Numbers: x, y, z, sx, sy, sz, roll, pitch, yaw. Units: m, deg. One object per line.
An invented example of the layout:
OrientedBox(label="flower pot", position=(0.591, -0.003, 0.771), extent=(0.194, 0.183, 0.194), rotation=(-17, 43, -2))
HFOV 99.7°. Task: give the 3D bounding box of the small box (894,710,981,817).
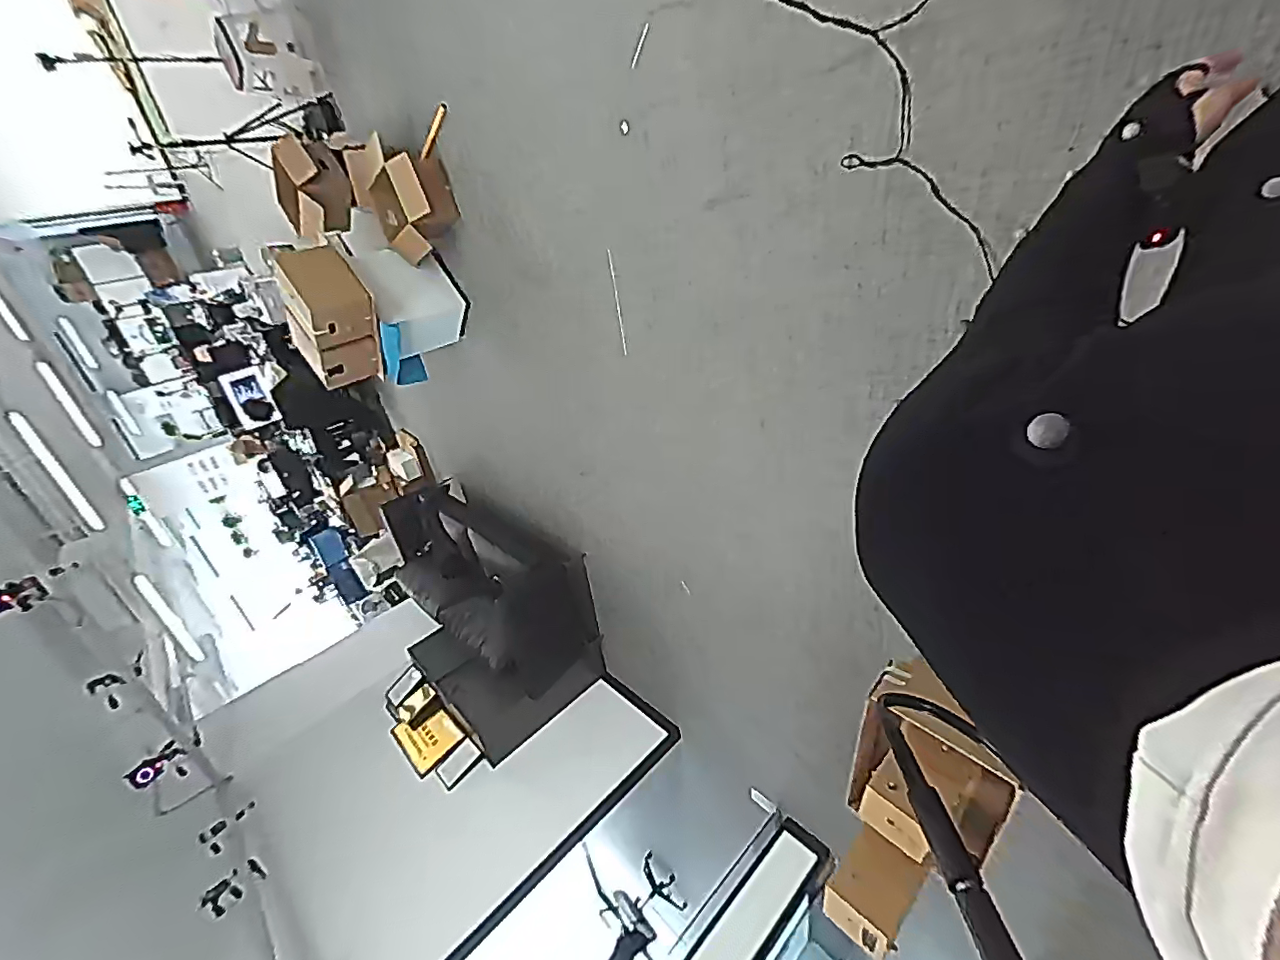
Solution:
OrientedBox(label="small box", position=(0.833, 0.794, 1.531), extent=(0.179, 0.176, 0.168), rotation=(26, 135, 39))

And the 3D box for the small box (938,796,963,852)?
OrientedBox(label="small box", position=(0.863, 1.024, 1.673), extent=(0.179, 0.176, 0.168), rotation=(24, 133, 40))

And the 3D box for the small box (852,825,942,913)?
OrientedBox(label="small box", position=(0.747, 1.090, 1.578), extent=(0.179, 0.176, 0.168), rotation=(22, 131, 40))

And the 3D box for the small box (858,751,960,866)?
OrientedBox(label="small box", position=(0.713, 0.861, 1.440), extent=(0.179, 0.176, 0.168), rotation=(27, 136, 38))
